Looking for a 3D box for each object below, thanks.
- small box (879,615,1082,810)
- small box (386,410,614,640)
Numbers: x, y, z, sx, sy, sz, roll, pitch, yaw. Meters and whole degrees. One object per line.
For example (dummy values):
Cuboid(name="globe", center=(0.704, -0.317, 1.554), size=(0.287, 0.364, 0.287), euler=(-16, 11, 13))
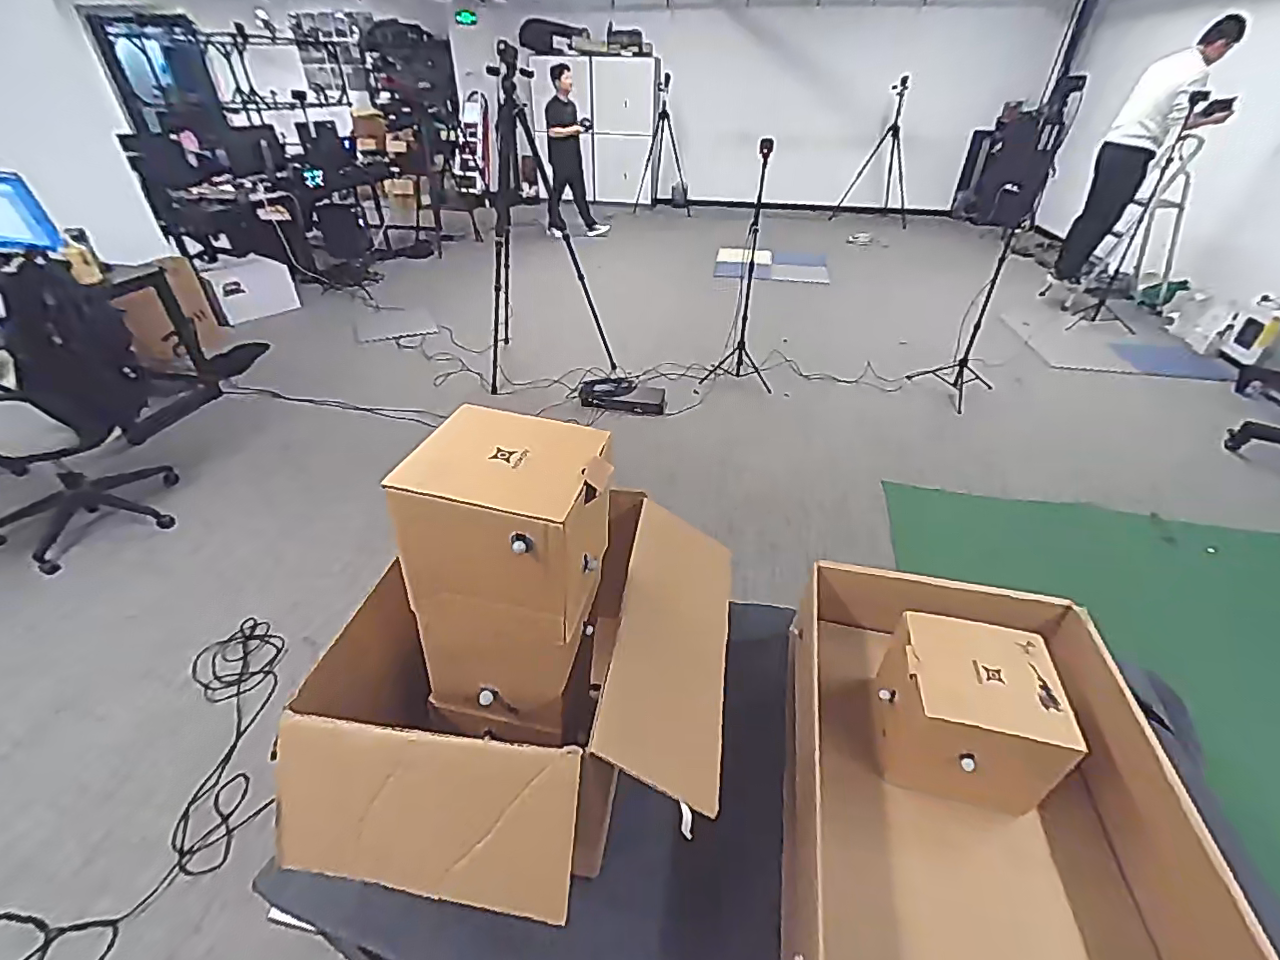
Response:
Cuboid(name="small box", center=(0.433, 0.311, 0.728), size=(0.179, 0.176, 0.168), euler=(8, 38, 12))
Cuboid(name="small box", center=(-0.136, 0.046, 0.582), size=(0.179, 0.176, 0.168), euler=(11, 35, 6))
